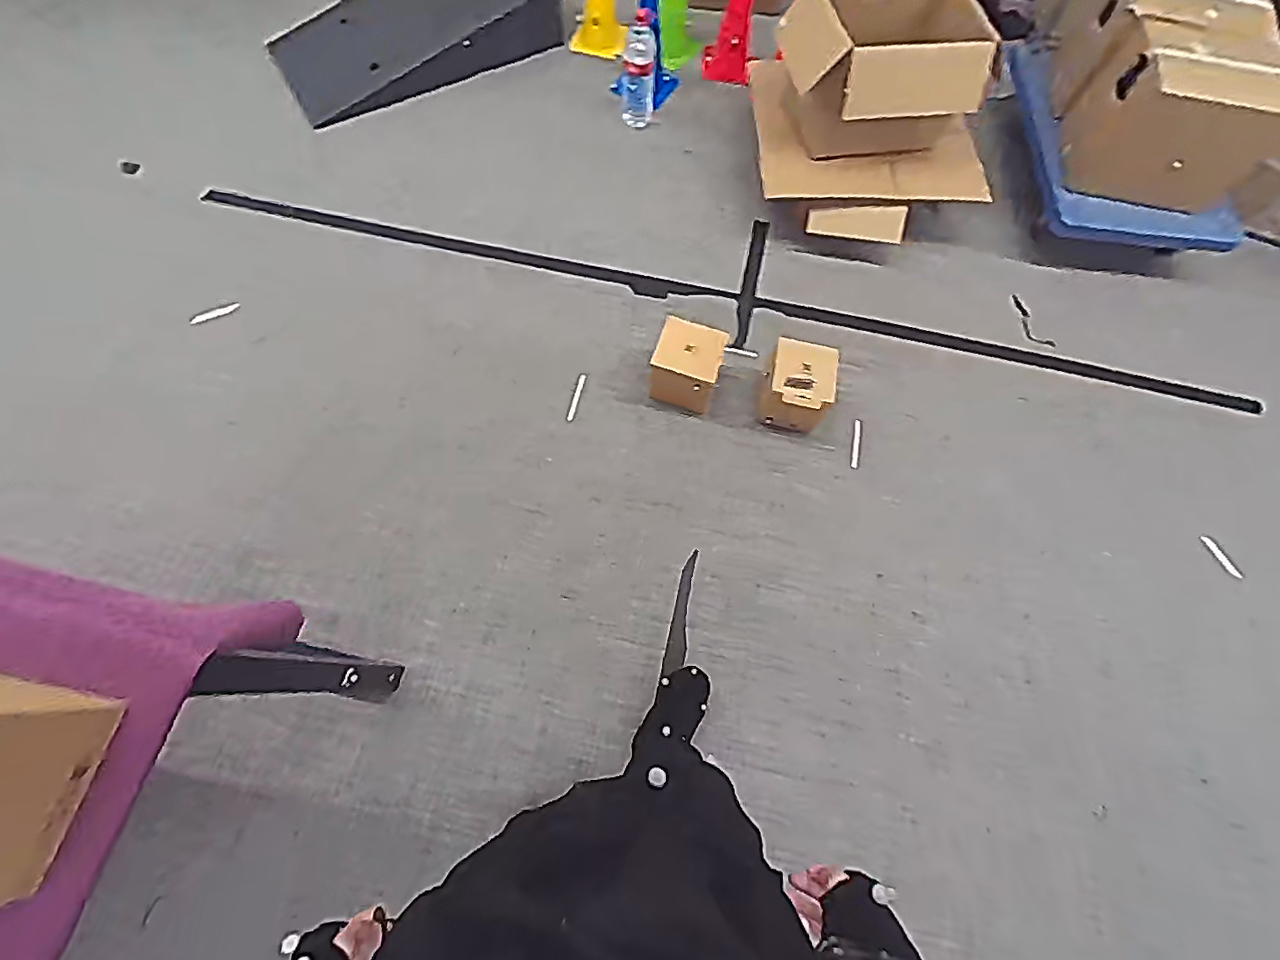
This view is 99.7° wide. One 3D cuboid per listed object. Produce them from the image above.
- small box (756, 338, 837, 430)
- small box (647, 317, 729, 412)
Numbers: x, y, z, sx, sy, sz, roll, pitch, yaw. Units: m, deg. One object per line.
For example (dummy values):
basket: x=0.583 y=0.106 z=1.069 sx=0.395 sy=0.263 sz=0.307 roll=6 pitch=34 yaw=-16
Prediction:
small box: x=0.424 y=-0.257 z=1.485 sx=0.168 sy=0.176 sz=0.179 roll=12 pitch=68 yaw=0
small box: x=0.126 y=-0.311 z=1.488 sx=0.179 sy=0.176 sz=0.168 roll=18 pitch=69 yaw=3
